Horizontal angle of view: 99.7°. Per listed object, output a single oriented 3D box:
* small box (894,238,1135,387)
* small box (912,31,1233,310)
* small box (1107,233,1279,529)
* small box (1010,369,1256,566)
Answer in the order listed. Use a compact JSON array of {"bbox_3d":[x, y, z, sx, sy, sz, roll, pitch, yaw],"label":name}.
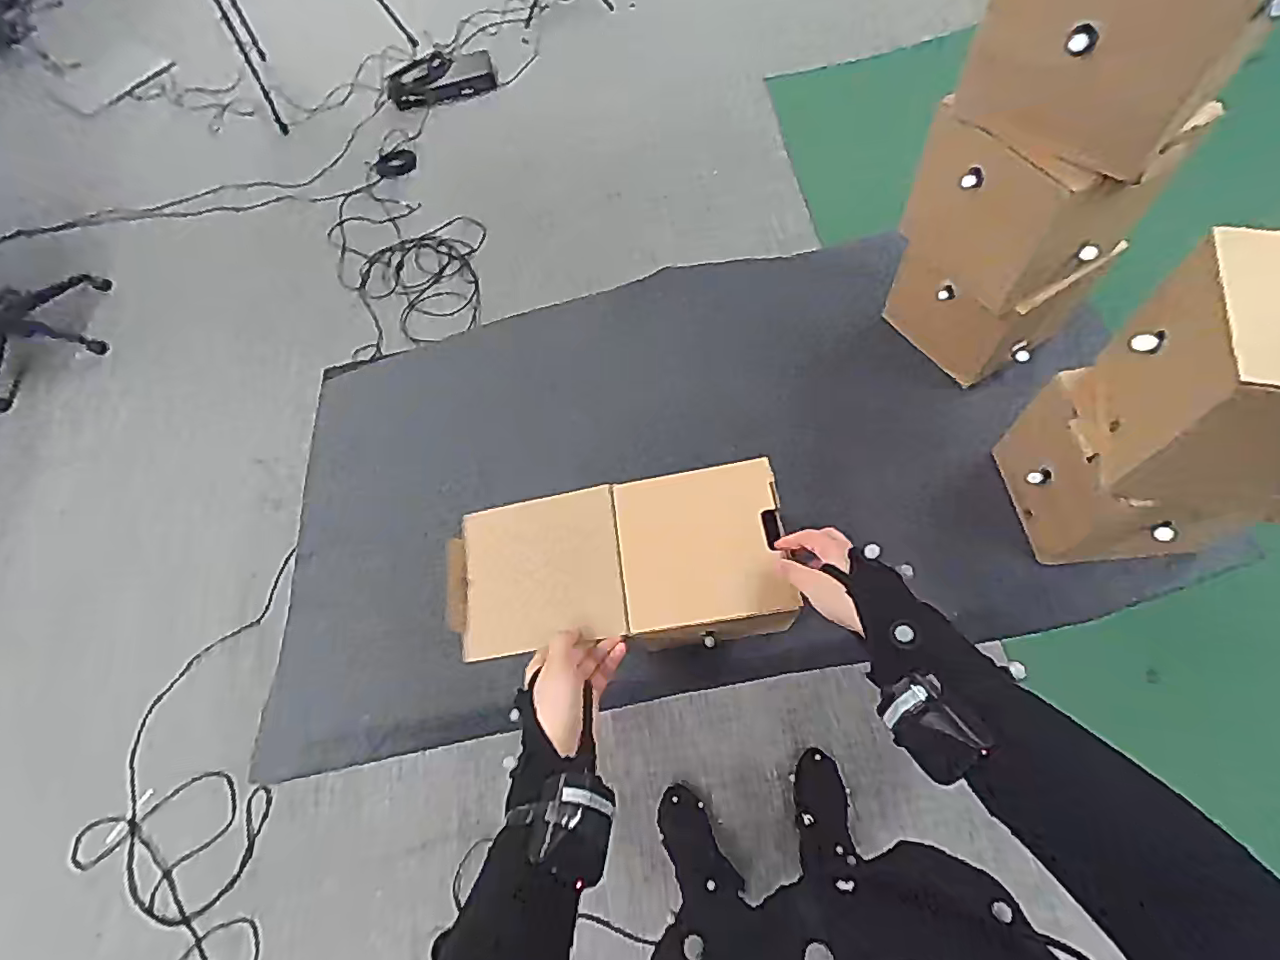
[{"bbox_3d":[0.479,-0.261,0.731,0.168,0.176,0.179,-33,66,-4],"label":"small box"},{"bbox_3d":[0.432,-0.323,0.584,0.168,0.176,0.179,-29,65,-1],"label":"small box"},{"bbox_3d":[0.531,-0.073,0.449,0.179,0.176,0.168,13,65,15],"label":"small box"},{"bbox_3d":[0.550,-0.012,0.600,0.179,0.176,0.168,-7,61,7],"label":"small box"}]
